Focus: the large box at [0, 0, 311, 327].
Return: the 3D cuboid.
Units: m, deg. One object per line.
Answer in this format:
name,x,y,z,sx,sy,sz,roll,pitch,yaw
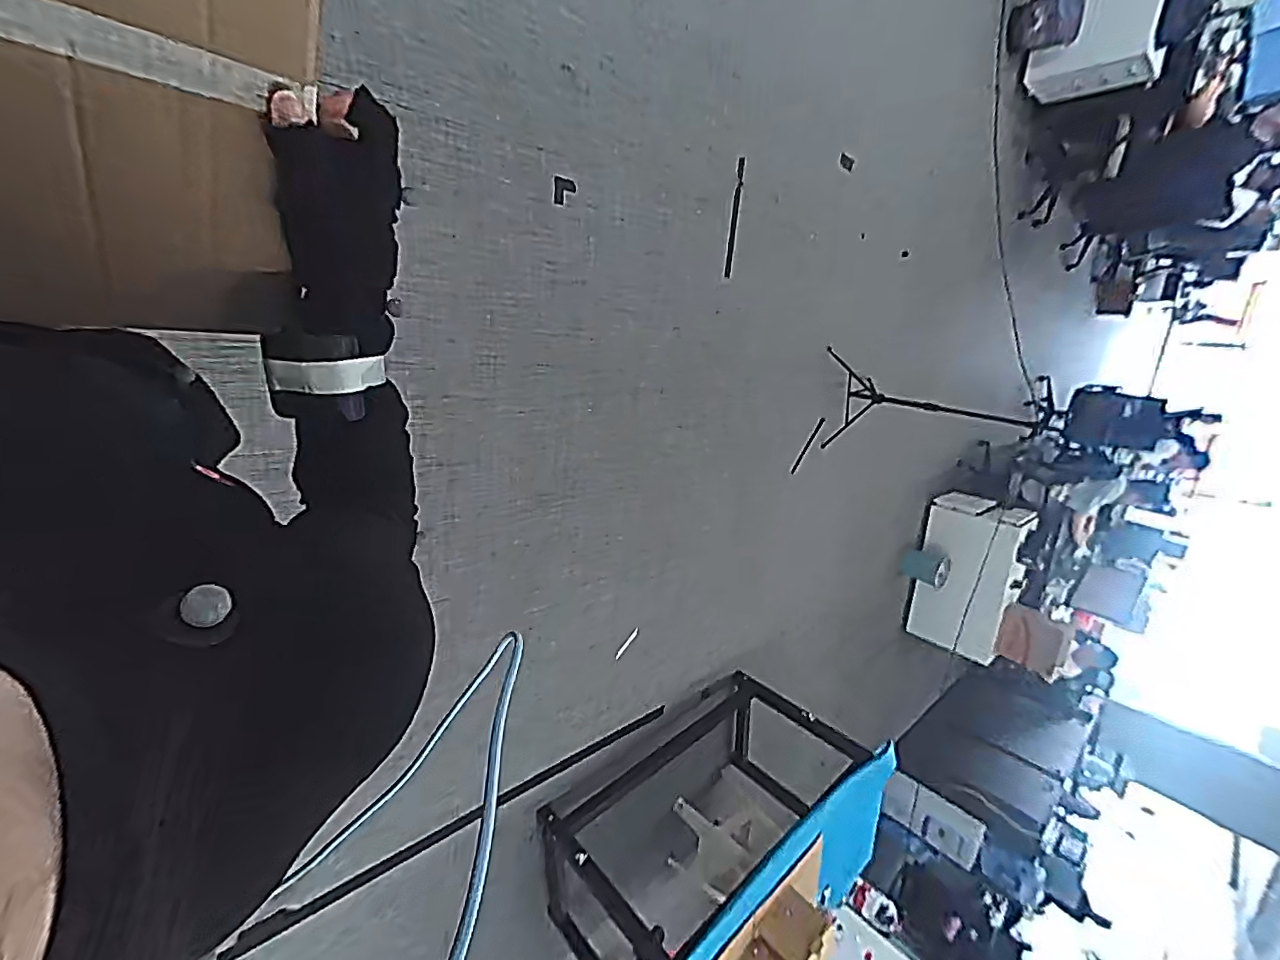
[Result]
large box,-0.425,-0.301,0.256,0.408,0.320,0.320,-9,142,-43
